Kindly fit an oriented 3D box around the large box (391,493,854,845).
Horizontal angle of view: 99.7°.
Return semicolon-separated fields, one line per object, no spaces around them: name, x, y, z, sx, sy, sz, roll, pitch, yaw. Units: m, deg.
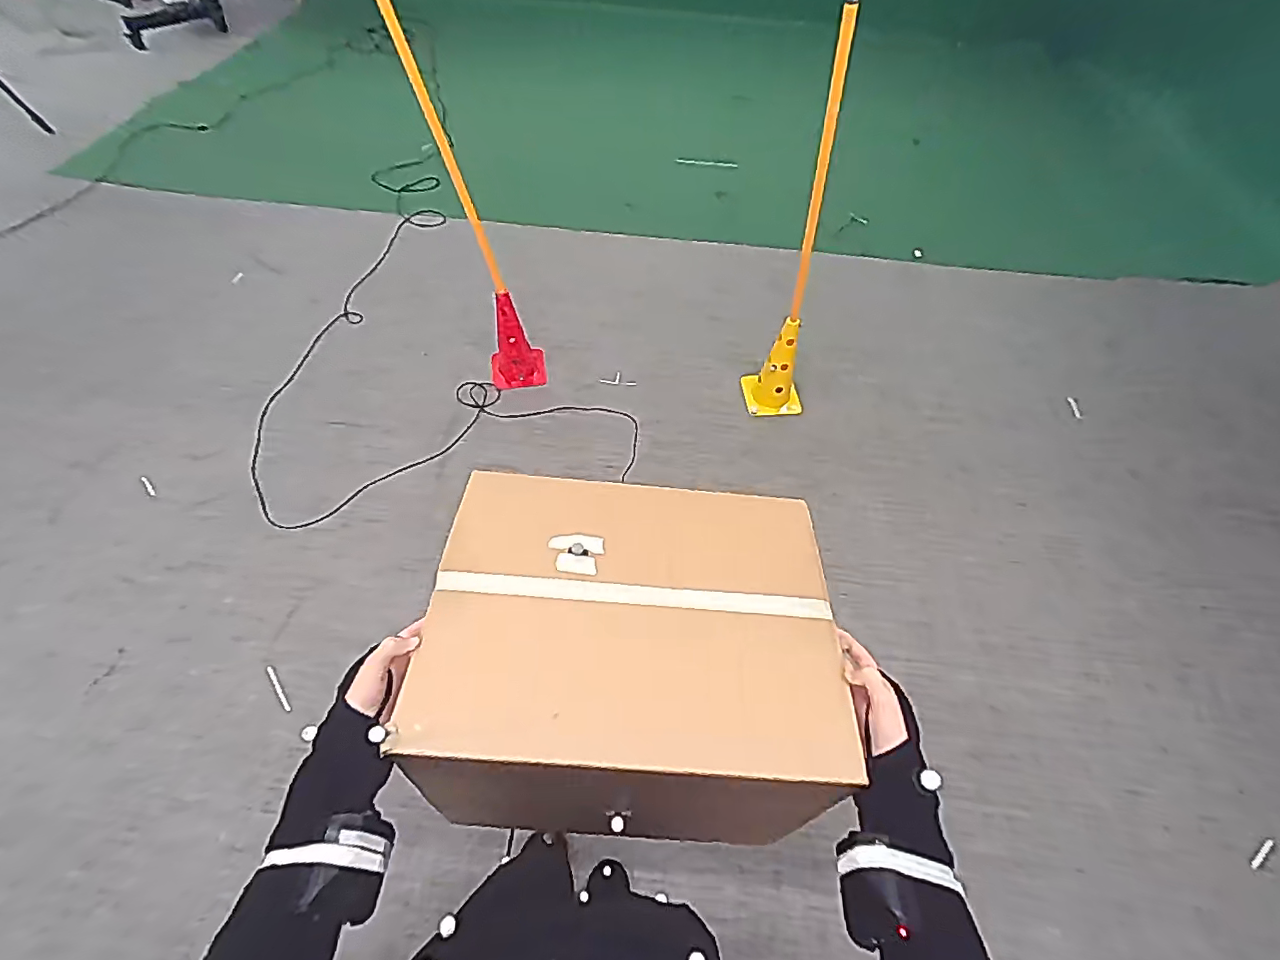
large box;-0.017;0.240;0.667;0.408;0.320;0.320;4;47;-2
